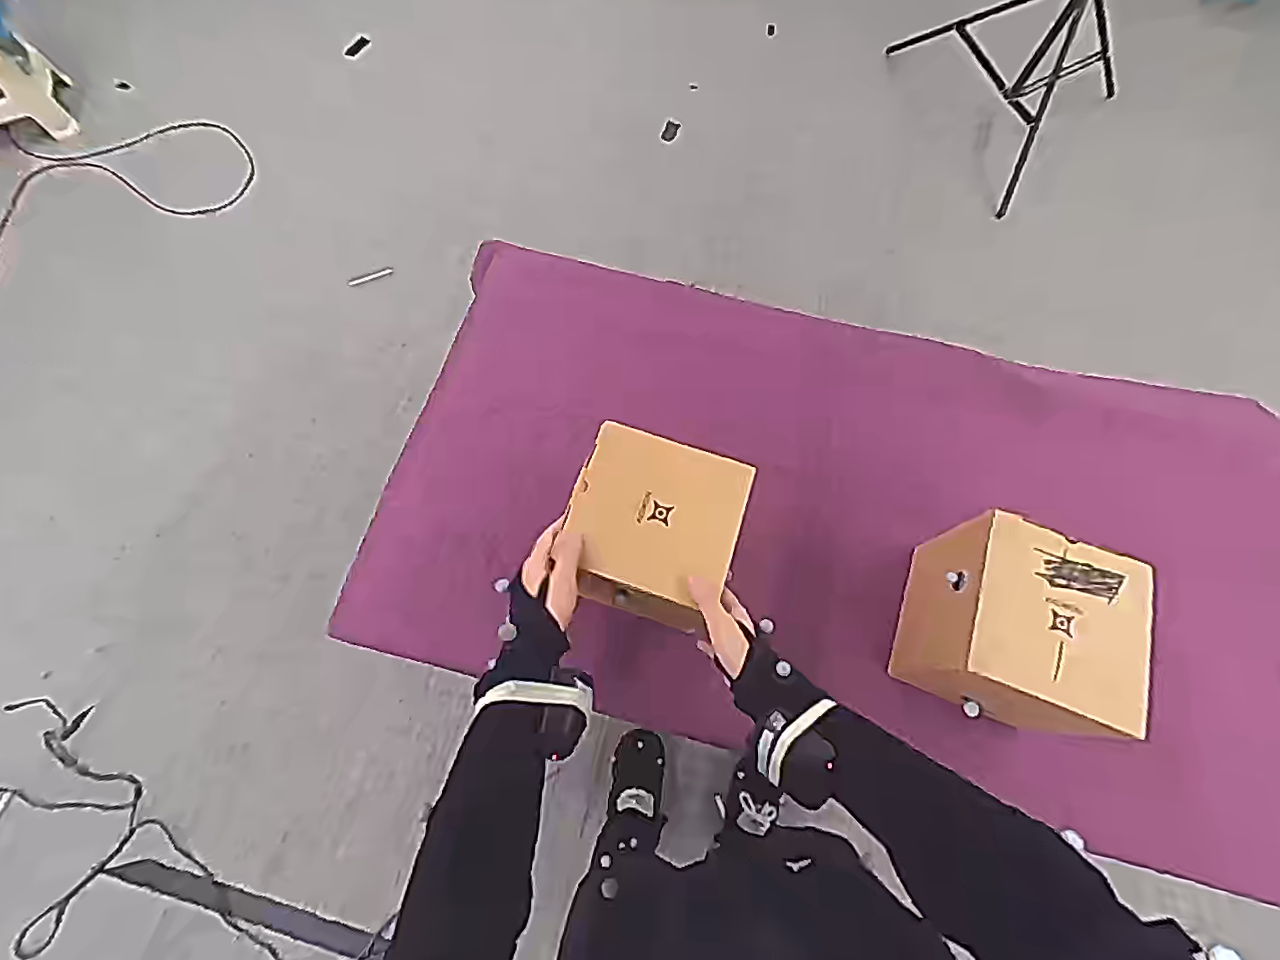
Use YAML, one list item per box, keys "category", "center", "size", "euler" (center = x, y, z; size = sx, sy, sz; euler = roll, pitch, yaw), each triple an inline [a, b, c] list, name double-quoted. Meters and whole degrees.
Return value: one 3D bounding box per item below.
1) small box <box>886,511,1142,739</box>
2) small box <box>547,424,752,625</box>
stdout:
- category: "small box"
  center: [0.405, 0.164, 0.609]
  size: [0.168, 0.176, 0.179]
  euler: [22, 70, 6]
- category: "small box"
  center: [0.011, 0.063, 0.635]
  size: [0.179, 0.176, 0.168]
  euler: [18, 69, 5]
